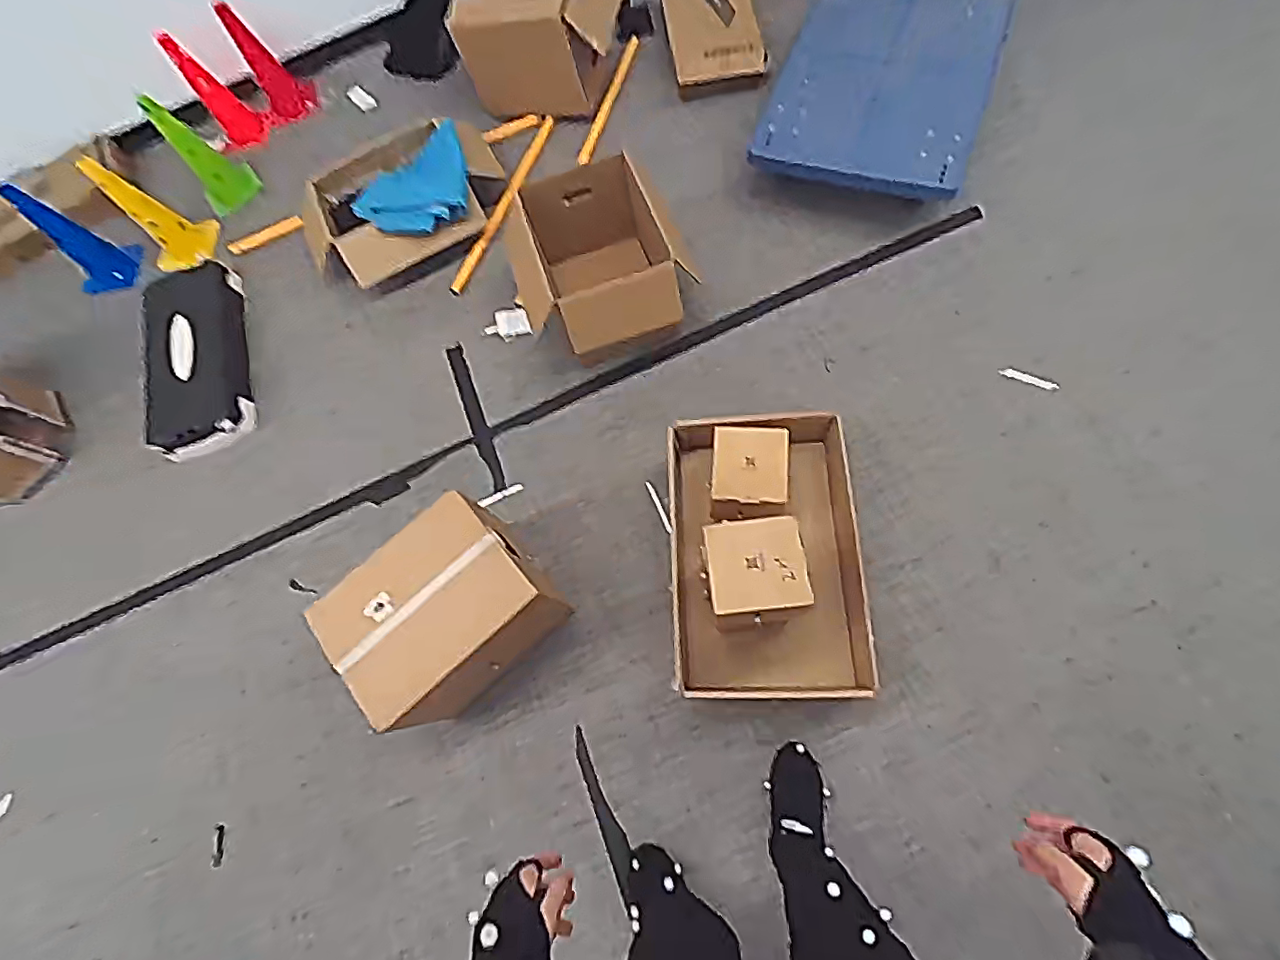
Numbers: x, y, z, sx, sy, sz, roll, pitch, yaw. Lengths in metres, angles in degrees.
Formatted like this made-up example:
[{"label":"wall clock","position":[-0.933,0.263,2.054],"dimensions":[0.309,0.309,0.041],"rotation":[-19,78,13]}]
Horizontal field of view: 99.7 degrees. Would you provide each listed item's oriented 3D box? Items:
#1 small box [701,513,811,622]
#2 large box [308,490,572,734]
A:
[{"label":"small box","position":[0.215,0.175,1.038],"dimensions":[0.179,0.176,0.168],"rotation":[-7,68,5]},{"label":"large box","position":[-0.429,0.297,1.241],"dimensions":[0.408,0.320,0.320],"rotation":[-42,70,-7]}]
